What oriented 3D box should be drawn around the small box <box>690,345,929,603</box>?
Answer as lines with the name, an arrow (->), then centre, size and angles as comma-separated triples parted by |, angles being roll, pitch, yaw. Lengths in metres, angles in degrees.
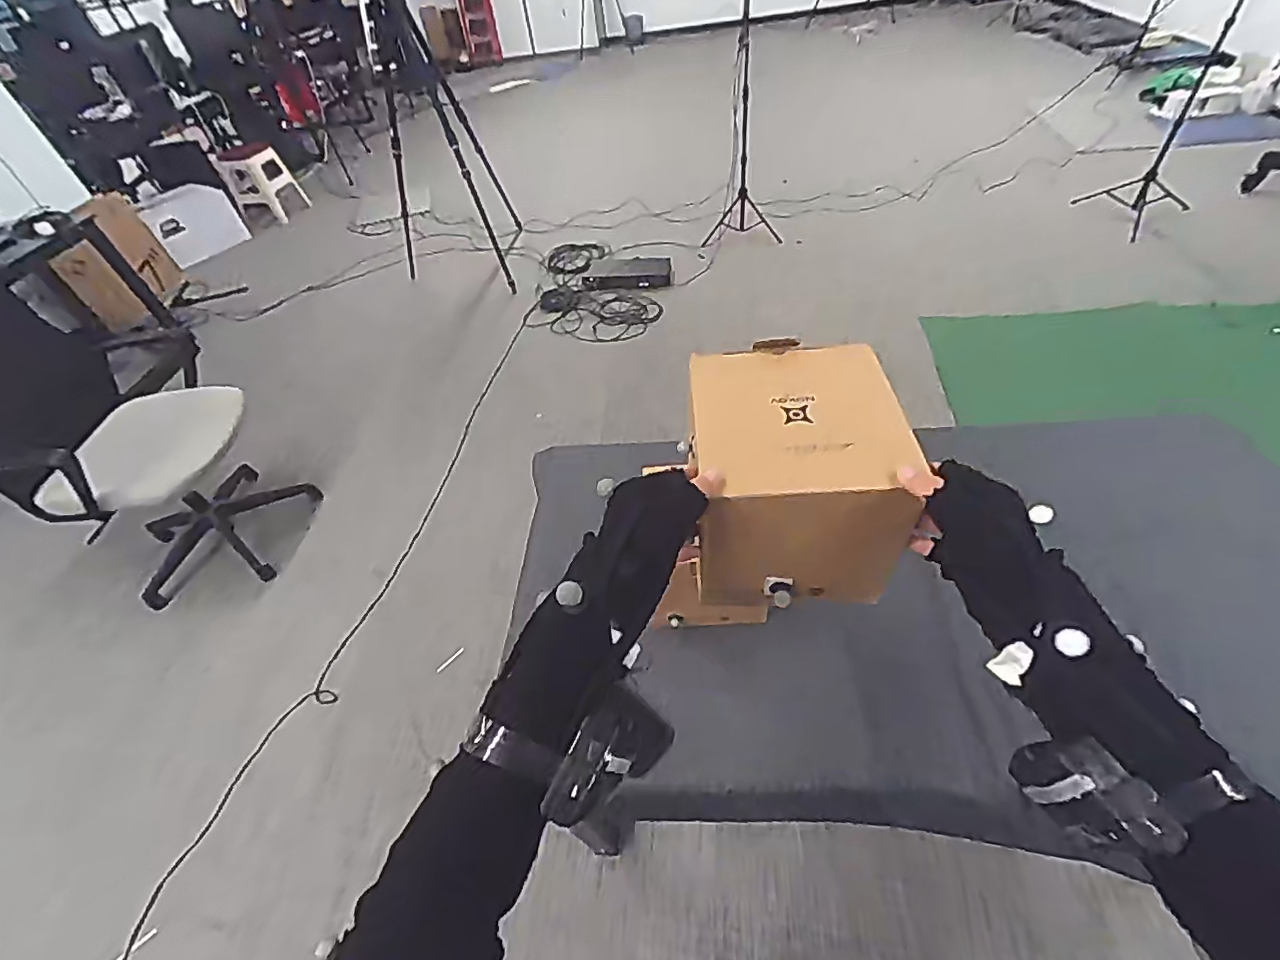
small box -> 0.131, -0.004, 0.503 | 0.168, 0.176, 0.179 | -2, 49, 4

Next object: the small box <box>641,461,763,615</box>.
small box -> 0.093, 0.089, 0.800 | 0.168, 0.176, 0.179 | -4, 47, 4
